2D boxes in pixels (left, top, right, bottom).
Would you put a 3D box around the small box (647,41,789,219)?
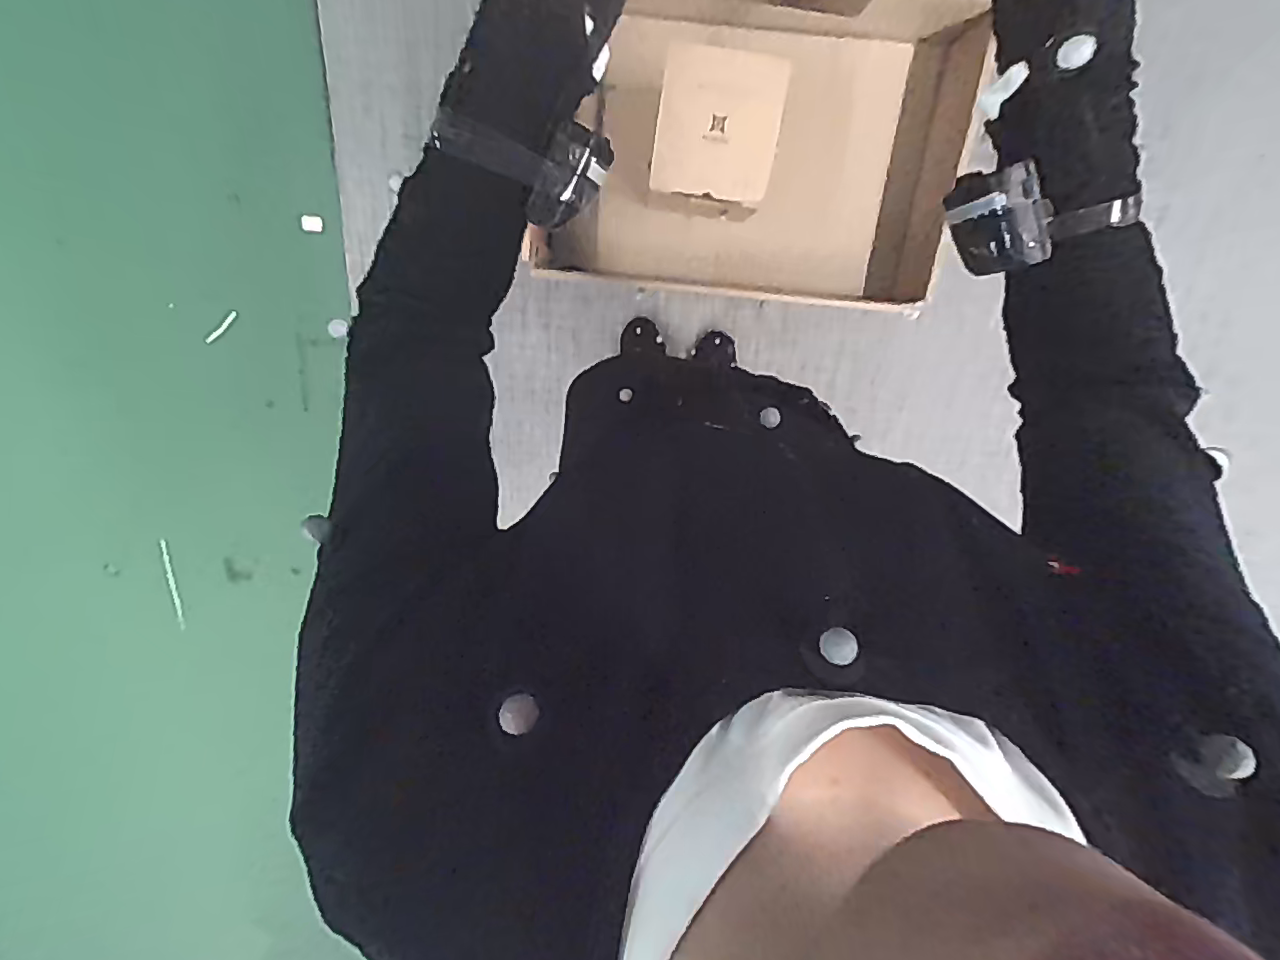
[{"bbox_3d":[0.103,-0.499,0.801,0.168,0.176,0.179,7,107,-4],"label":"small box"}]
